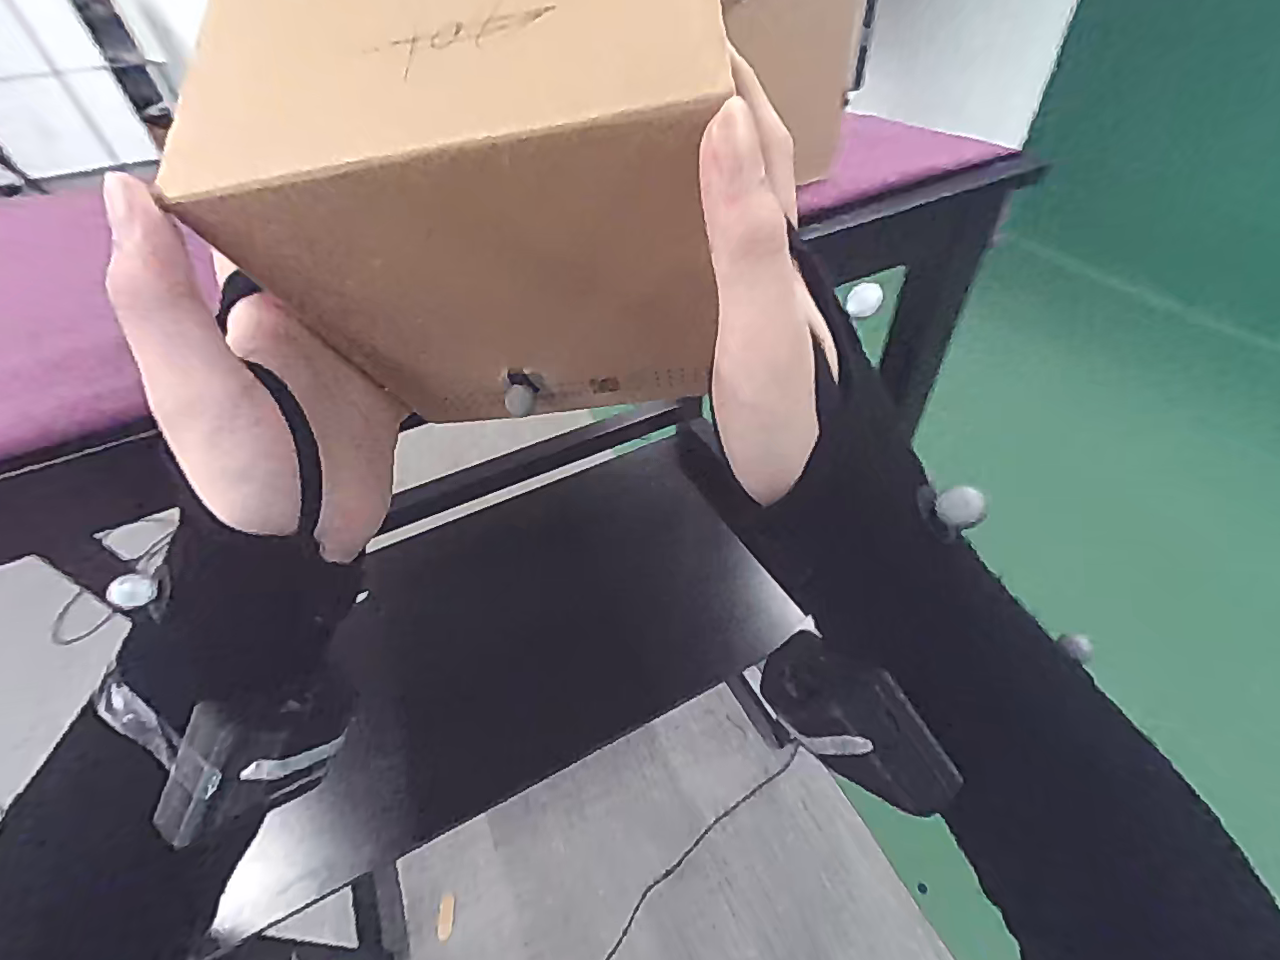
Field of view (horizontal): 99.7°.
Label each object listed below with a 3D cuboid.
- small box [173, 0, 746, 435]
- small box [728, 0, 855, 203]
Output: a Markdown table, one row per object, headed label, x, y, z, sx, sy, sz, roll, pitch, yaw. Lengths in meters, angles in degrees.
| label | x | y | z | sx | sy | sz | roll | pitch | yaw |
| --- | --- | --- | --- | --- | --- | --- | --- | --- | --- |
| small box | -0.047 | -0.139 | 0.249 | 0.168 | 0.176 | 0.179 | -6 | 70 | 7 |
| small box | 0.057 | -0.353 | 0.473 | 0.168 | 0.176 | 0.179 | -20 | 46 | -12 |
